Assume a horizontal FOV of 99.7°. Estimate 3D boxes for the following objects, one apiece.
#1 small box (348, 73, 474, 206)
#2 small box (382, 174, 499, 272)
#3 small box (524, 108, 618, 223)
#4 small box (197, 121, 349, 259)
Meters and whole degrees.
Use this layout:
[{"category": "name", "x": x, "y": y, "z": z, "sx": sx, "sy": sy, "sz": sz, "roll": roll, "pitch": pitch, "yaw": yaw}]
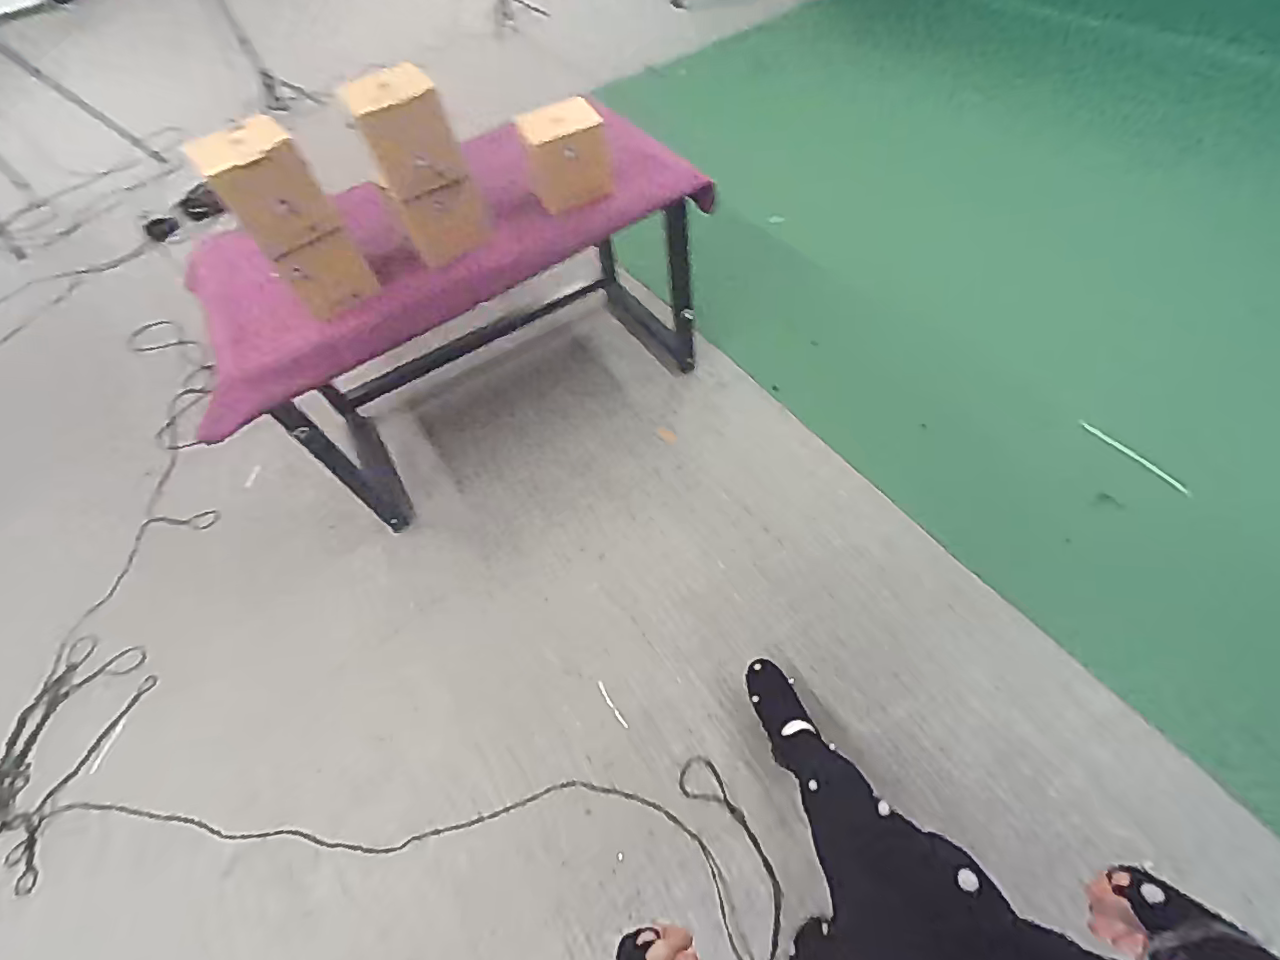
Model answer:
[{"category": "small box", "x": -0.477, "y": -0.714, "z": 1.140, "sx": 0.168, "sy": 0.176, "sz": 0.179, "roll": -29, "pitch": 58, "yaw": -12}, {"category": "small box", "x": -0.465, "y": -0.626, "z": 1.279, "sx": 0.179, "sy": 0.176, "sz": 0.168, "roll": -35, "pitch": 59, "yaw": -16}, {"category": "small box", "x": -0.162, "y": -0.772, "z": 1.333, "sx": 0.179, "sy": 0.176, "sz": 0.168, "roll": -23, "pitch": 55, "yaw": -5}, {"category": "small box", "x": -0.720, "y": -0.569, "z": 1.076, "sx": 0.168, "sy": 0.176, "sz": 0.179, "roll": -36, "pitch": 60, "yaw": -17}]
